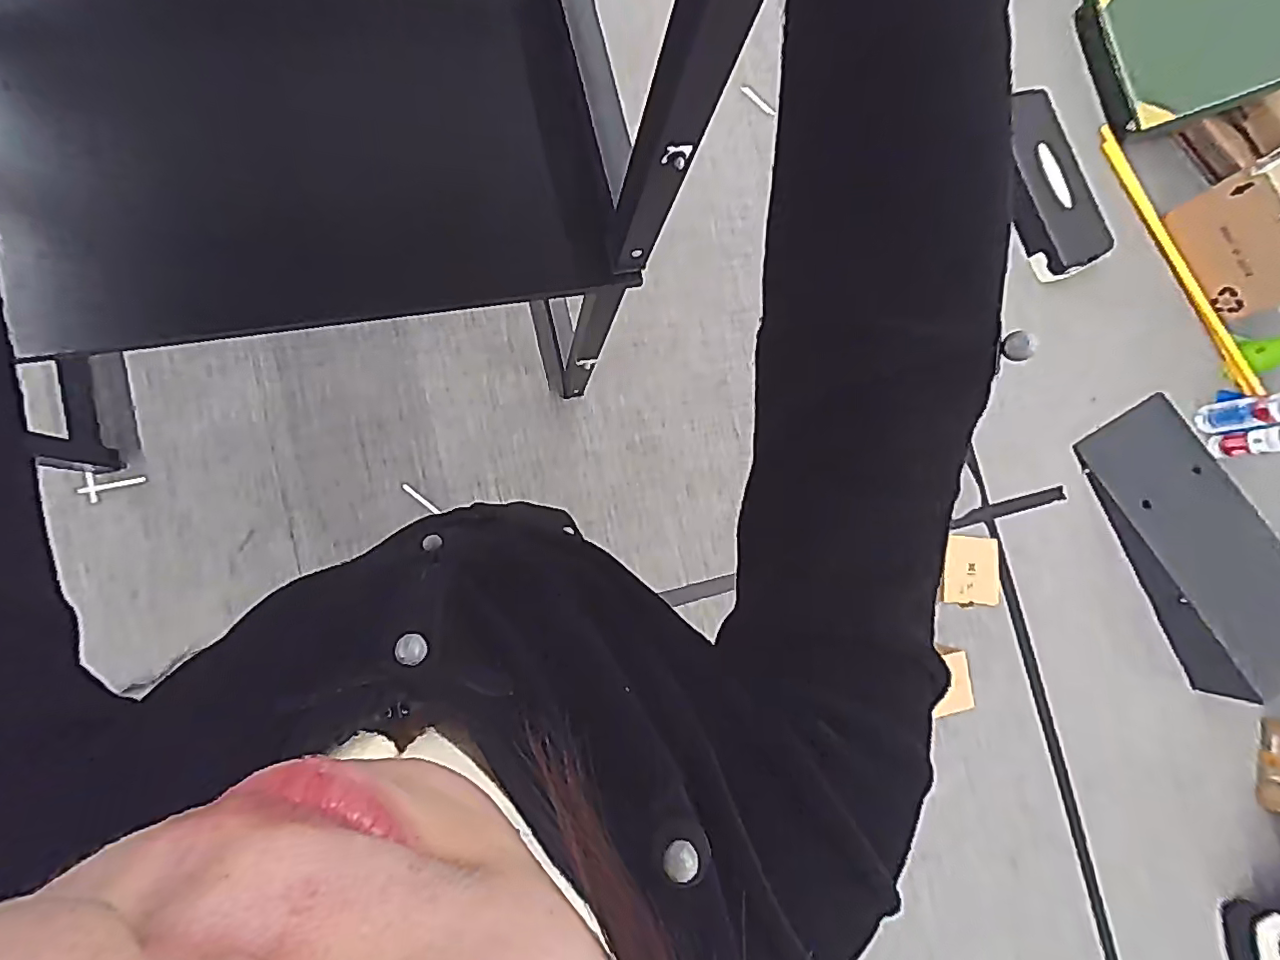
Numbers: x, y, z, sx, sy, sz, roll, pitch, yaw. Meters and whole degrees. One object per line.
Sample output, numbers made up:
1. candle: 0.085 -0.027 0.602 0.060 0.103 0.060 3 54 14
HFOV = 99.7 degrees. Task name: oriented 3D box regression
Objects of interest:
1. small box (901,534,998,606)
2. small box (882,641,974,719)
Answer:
1. small box: 0.836 0.242 1.471 0.168 0.176 0.179 6 83 -11
2. small box: 0.845 0.588 1.609 0.179 0.176 0.168 -6 86 -14
